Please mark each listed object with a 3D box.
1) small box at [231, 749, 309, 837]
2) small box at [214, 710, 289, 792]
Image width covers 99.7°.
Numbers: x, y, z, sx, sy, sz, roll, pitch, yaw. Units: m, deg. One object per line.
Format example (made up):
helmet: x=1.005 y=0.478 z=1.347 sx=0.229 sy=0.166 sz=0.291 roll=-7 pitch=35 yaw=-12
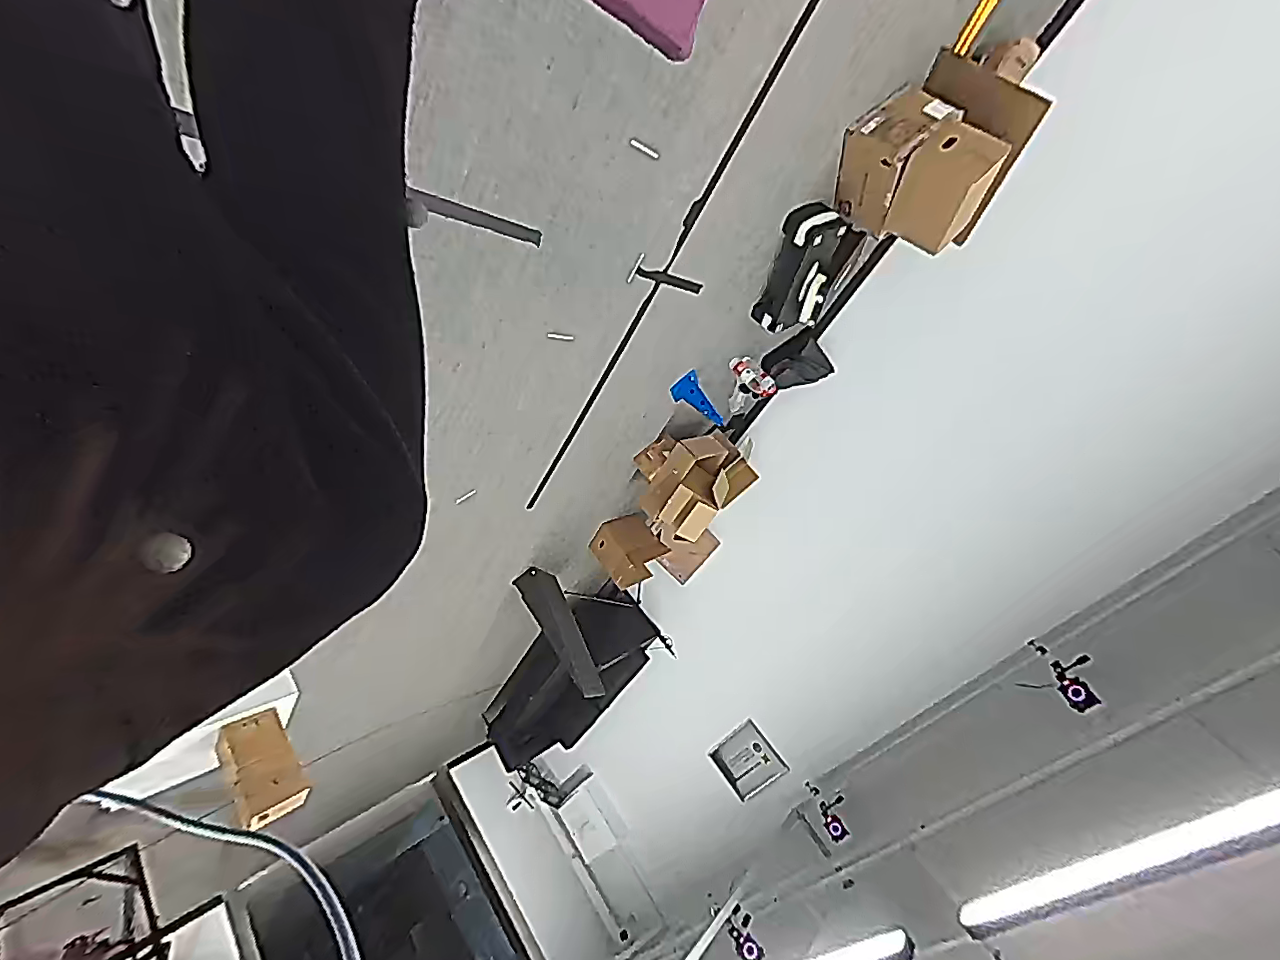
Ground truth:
small box: x=-1.281 y=1.072 z=1.865 sx=0.179 sy=0.176 sz=0.168 roll=-15 pitch=148 yaw=-50
small box: x=-1.384 y=0.957 z=1.921 sx=0.168 sy=0.176 sz=0.179 roll=-9 pitch=142 yaw=-53
